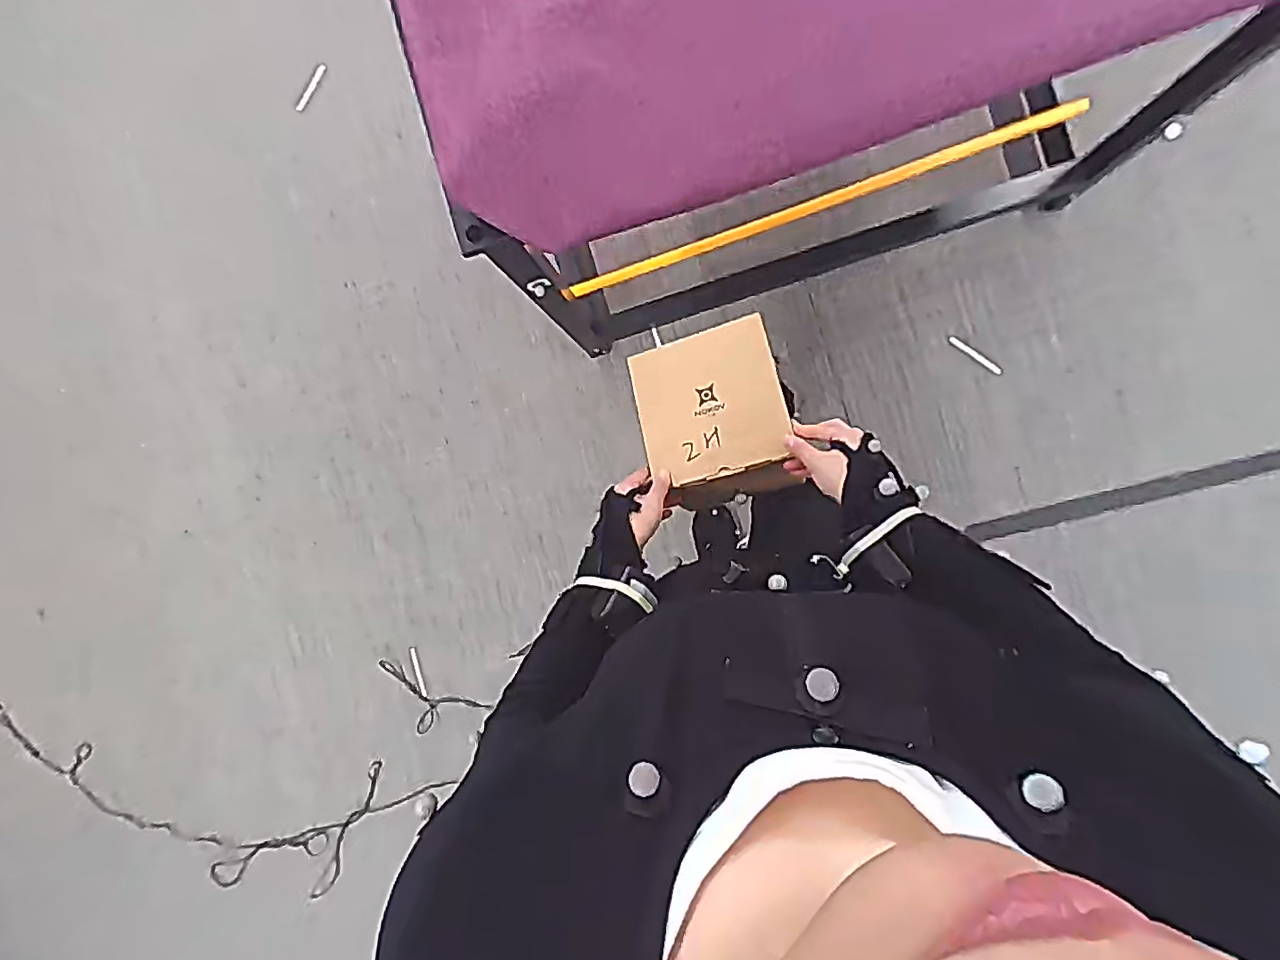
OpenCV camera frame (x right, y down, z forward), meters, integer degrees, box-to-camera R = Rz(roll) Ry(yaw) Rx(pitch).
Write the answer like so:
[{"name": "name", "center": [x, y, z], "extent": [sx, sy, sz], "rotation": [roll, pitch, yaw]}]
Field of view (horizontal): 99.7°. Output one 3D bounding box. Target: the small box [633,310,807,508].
[{"name": "small box", "center": [0.106, -0.075, 0.678], "extent": [0.168, 0.176, 0.179], "rotation": [-15, 76, 15]}]
